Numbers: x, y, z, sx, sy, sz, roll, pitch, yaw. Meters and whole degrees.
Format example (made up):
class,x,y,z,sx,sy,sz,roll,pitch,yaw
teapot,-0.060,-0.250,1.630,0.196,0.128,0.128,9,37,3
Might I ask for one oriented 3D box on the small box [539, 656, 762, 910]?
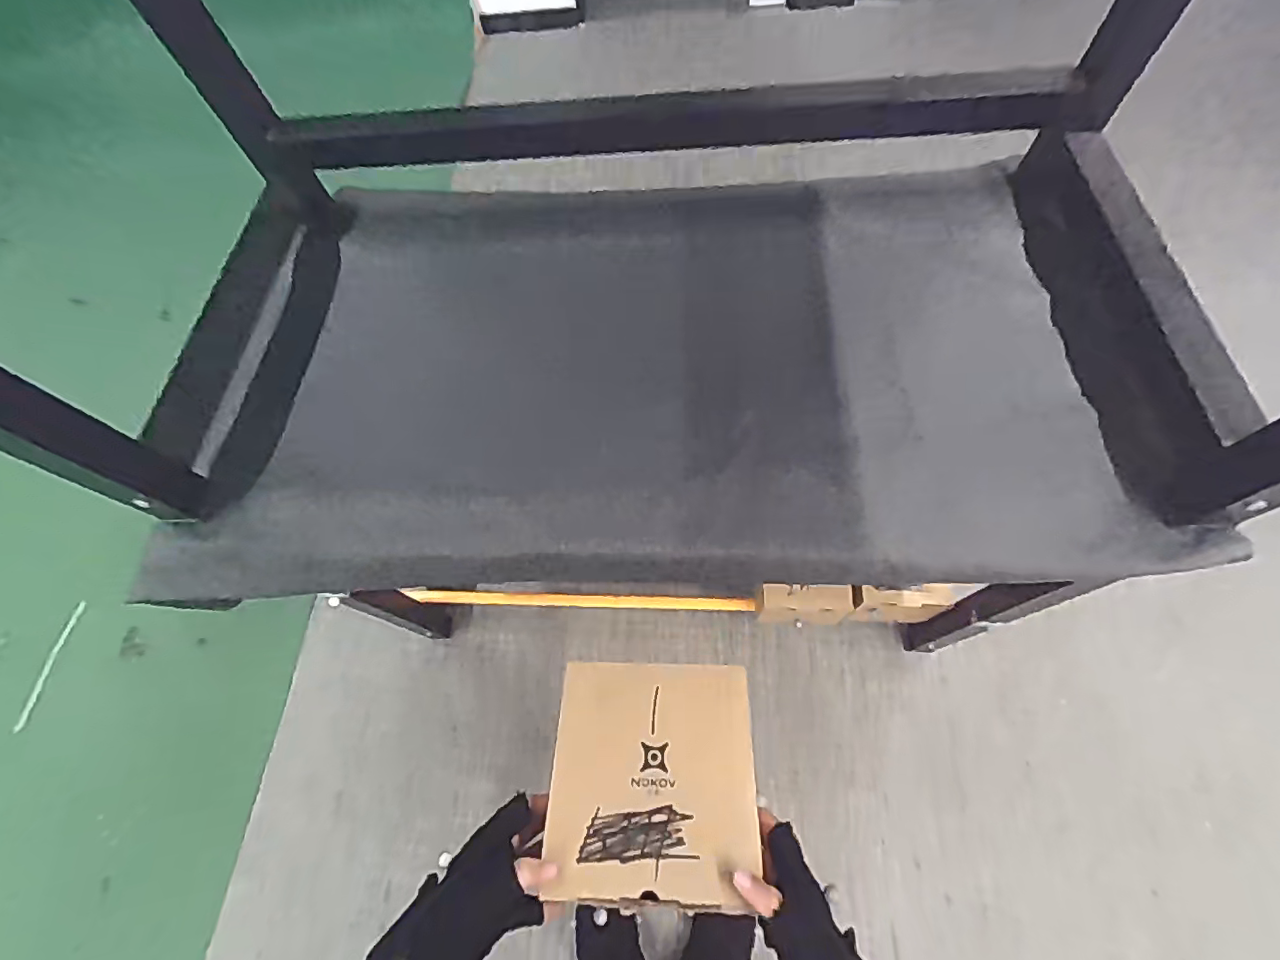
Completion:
class,x,y,z,sx,sy,sz,roll,pitch,yaw
small box,0.017,0.281,0.499,0.168,0.176,0.179,0,49,5
